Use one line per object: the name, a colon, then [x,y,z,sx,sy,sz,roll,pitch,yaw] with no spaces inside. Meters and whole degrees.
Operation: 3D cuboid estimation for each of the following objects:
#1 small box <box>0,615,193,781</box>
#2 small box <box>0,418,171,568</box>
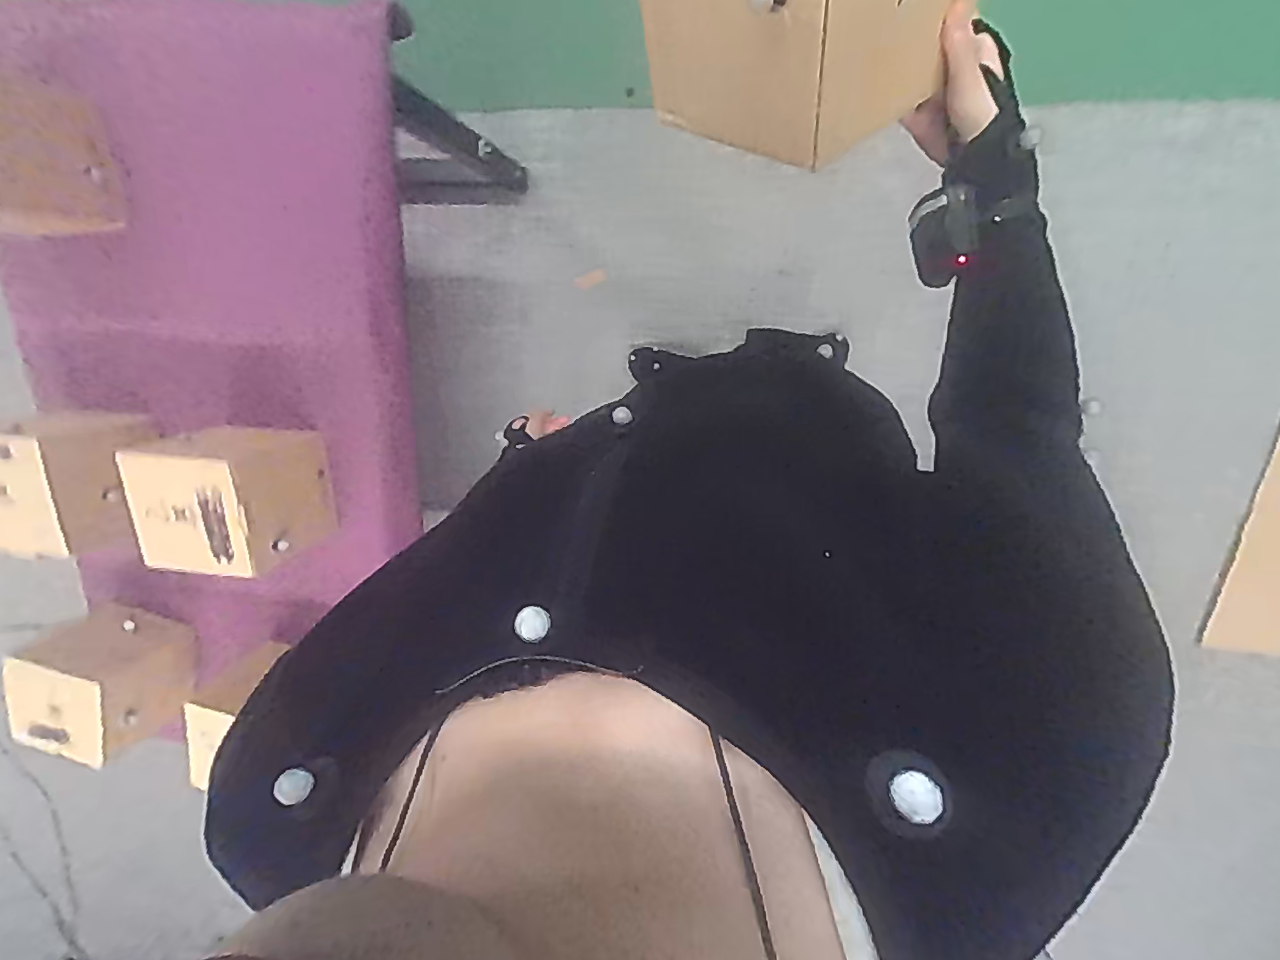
small box: [-0.915,0.364,0.927,0.168,0.176,0.179,16,106,2]
small box: [-0.866,0.013,0.818,0.168,0.176,0.179,4,108,5]
